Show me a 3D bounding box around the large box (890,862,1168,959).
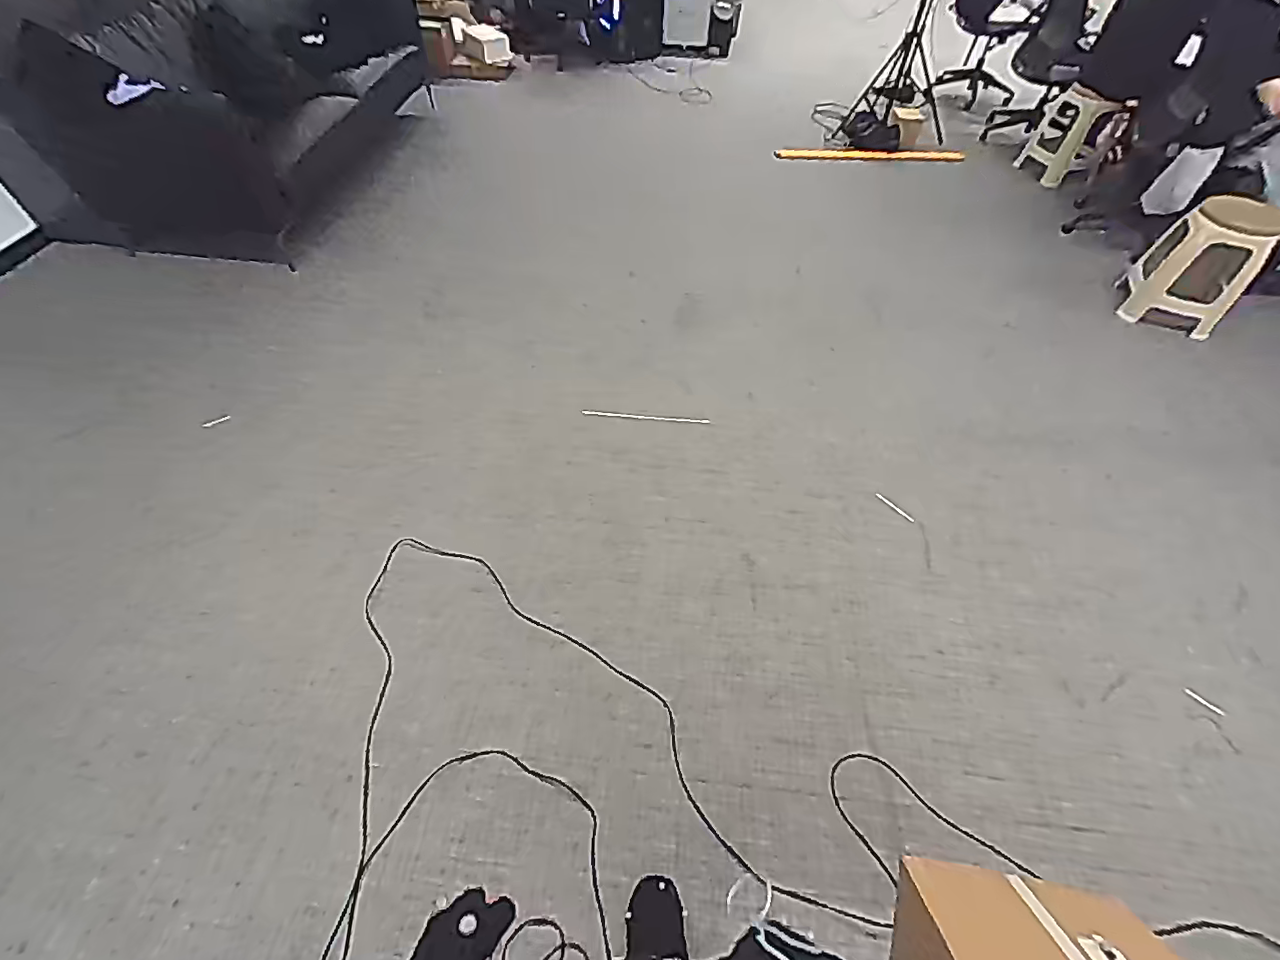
[{"bbox_3d":[0.510,0.753,0.624,0.320,0.408,0.320,8,89,8],"label":"large box"}]
